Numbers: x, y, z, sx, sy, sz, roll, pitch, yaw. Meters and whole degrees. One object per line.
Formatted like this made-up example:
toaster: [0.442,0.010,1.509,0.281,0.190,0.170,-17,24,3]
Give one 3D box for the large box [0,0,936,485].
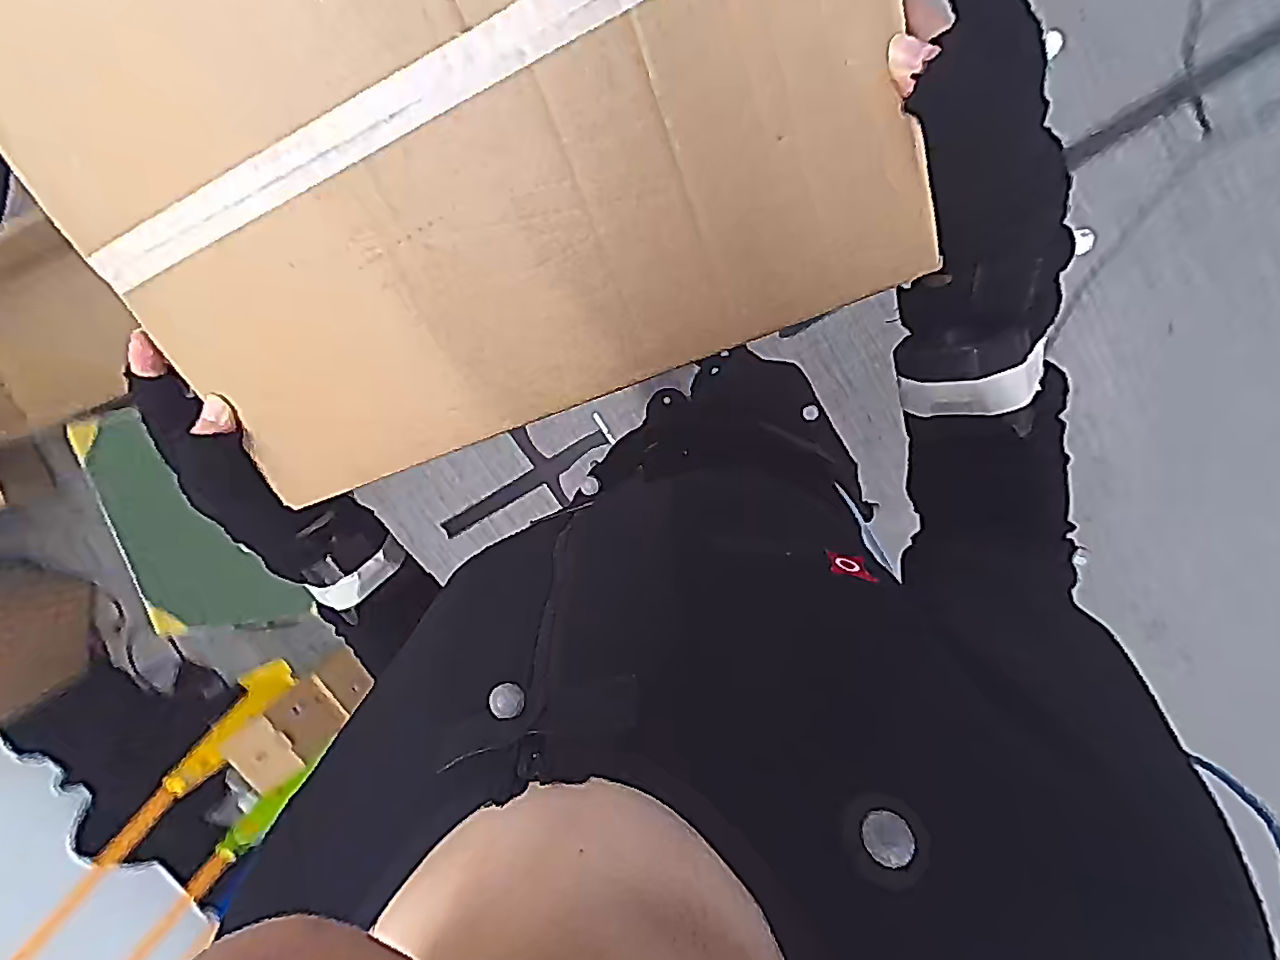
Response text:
large box: [-0.077,-0.247,0.388,0.408,0.320,0.320,-17,115,14]
